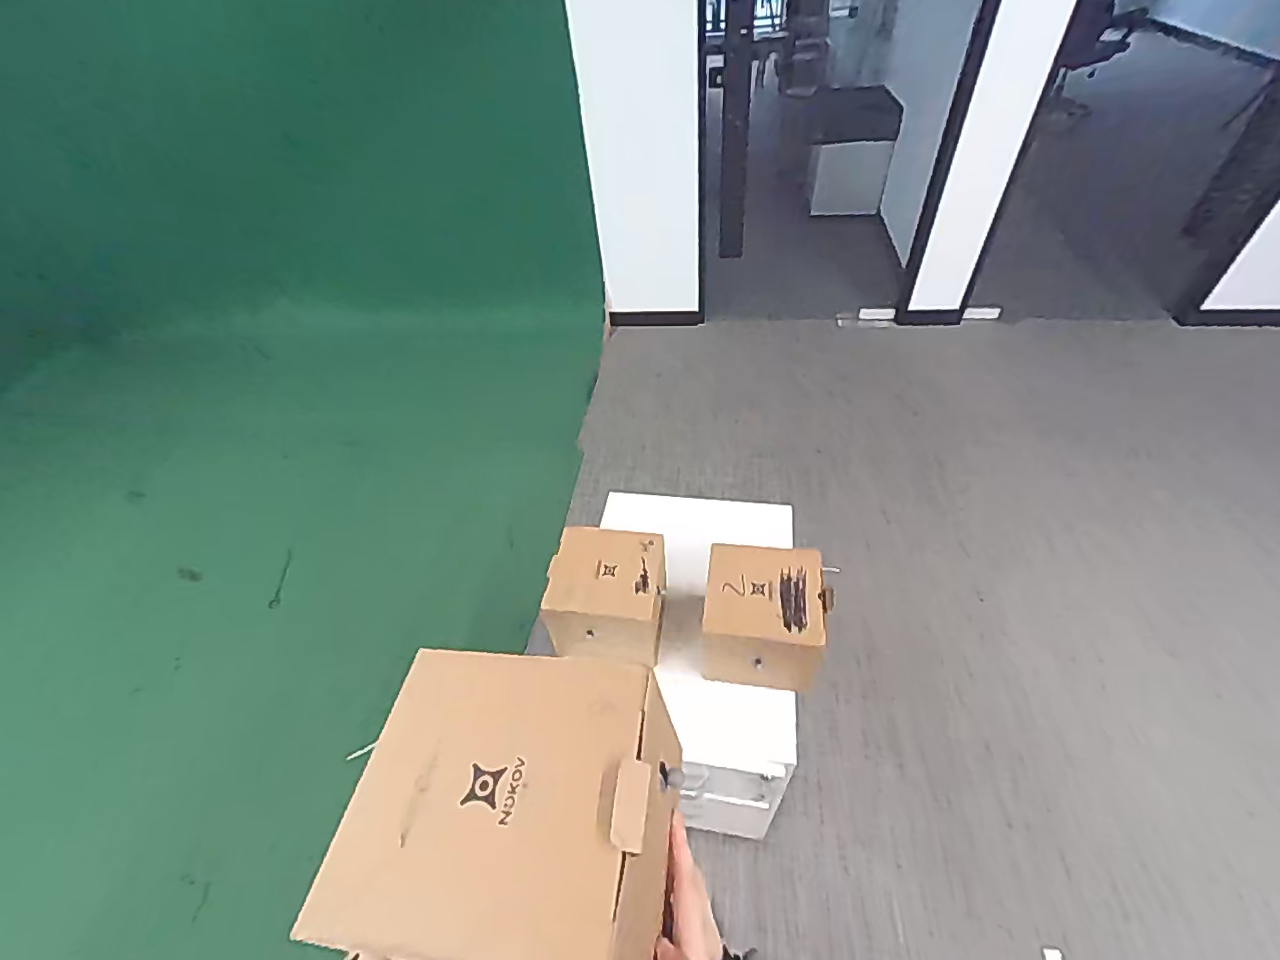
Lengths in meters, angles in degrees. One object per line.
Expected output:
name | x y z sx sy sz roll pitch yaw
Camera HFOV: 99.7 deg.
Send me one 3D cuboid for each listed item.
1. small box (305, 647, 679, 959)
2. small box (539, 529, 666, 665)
small box | -0.072 0.236 0.380 0.179 0.176 0.168 -1 46 13
small box | -0.054 0.204 0.926 0.179 0.176 0.168 4 48 9
